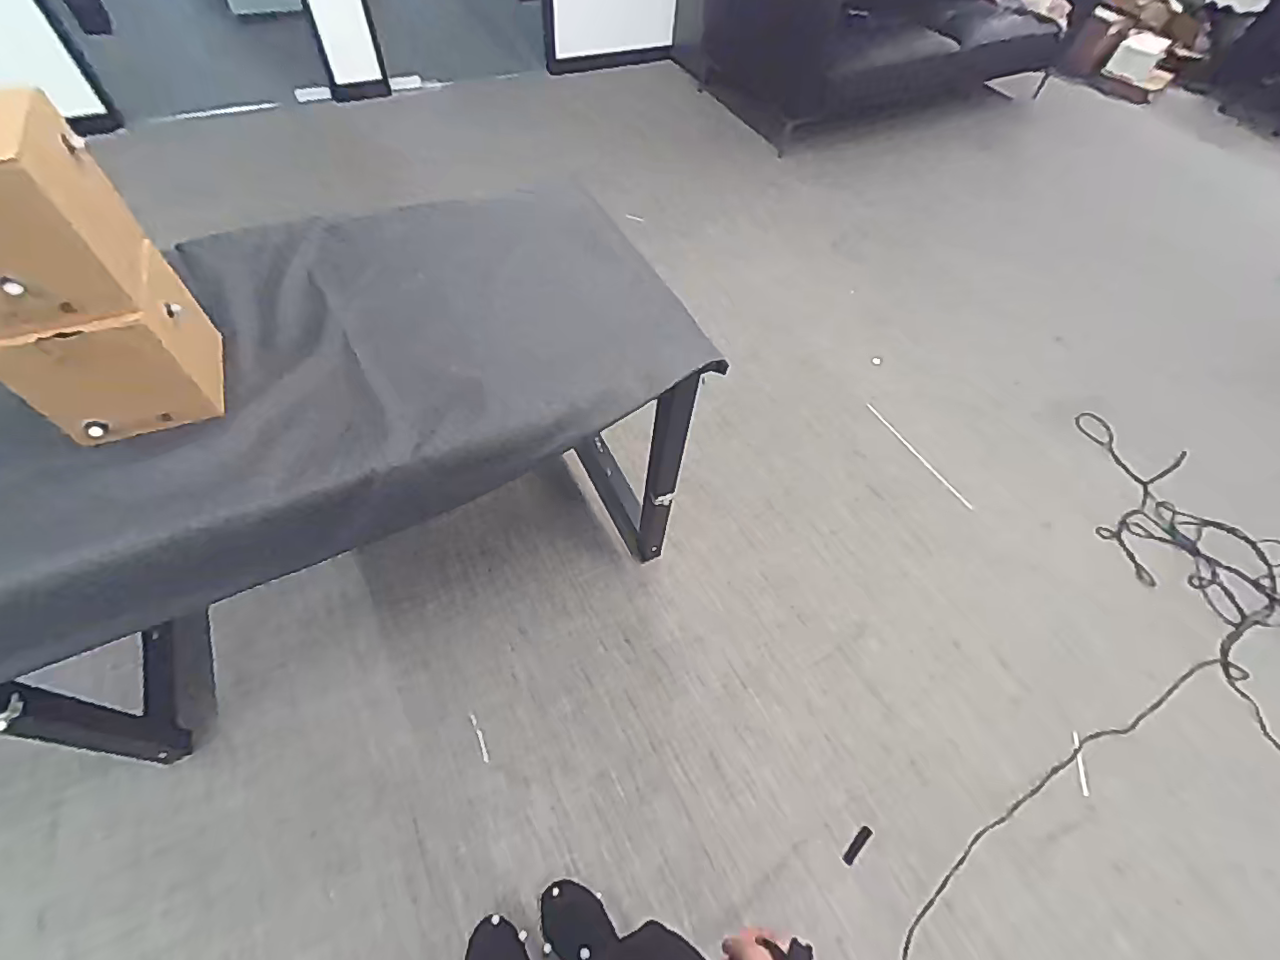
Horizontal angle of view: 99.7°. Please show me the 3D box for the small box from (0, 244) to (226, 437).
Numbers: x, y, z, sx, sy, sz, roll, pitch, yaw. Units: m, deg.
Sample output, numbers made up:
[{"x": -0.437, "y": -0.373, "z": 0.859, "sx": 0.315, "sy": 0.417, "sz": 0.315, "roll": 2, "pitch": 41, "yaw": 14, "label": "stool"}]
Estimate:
[{"x": -0.683, "y": -0.177, "z": 0.715, "sx": 0.168, "sy": 0.176, "sz": 0.179, "roll": -18, "pitch": 58, "yaw": -17, "label": "small box"}]

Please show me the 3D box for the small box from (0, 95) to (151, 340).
[{"x": -0.680, "y": -0.282, "z": 0.586, "sx": 0.168, "sy": 0.176, "sz": 0.179, "roll": -20, "pitch": 59, "yaw": -17, "label": "small box"}]
